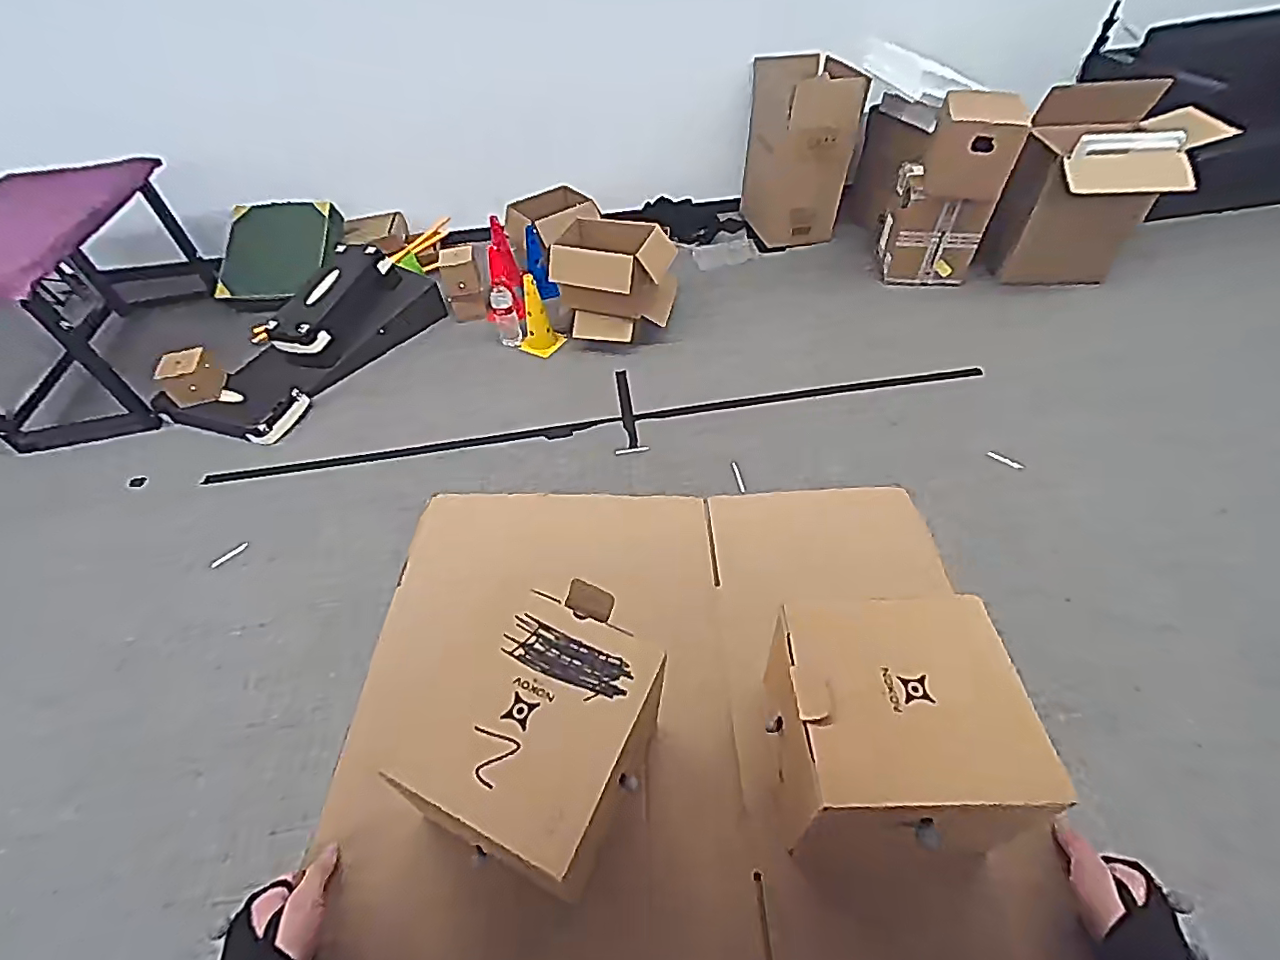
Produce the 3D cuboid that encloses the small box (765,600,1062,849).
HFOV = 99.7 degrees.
[{"bbox_3d":[0.222,0.227,0.500,0.179,0.176,0.168,-3,46,3],"label":"small box"}]
